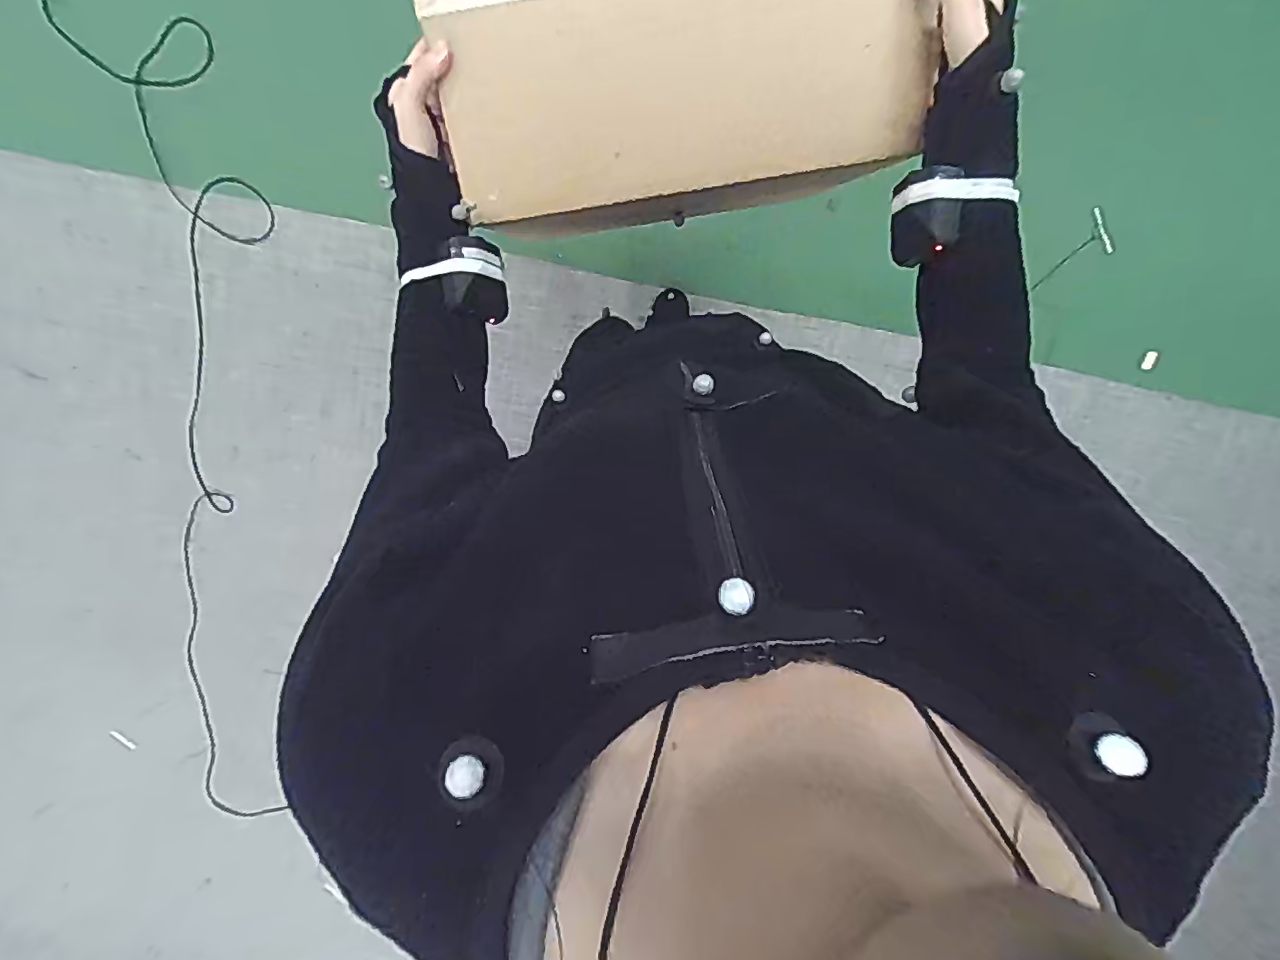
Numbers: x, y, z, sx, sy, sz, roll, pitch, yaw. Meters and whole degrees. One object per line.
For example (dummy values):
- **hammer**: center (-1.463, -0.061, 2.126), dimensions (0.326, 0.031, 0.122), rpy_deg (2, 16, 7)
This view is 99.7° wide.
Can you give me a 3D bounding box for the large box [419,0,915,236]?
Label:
- **large box**: center (0.019, -0.456, 0.566), dimensions (0.408, 0.320, 0.320), rpy_deg (-9, 112, 2)
